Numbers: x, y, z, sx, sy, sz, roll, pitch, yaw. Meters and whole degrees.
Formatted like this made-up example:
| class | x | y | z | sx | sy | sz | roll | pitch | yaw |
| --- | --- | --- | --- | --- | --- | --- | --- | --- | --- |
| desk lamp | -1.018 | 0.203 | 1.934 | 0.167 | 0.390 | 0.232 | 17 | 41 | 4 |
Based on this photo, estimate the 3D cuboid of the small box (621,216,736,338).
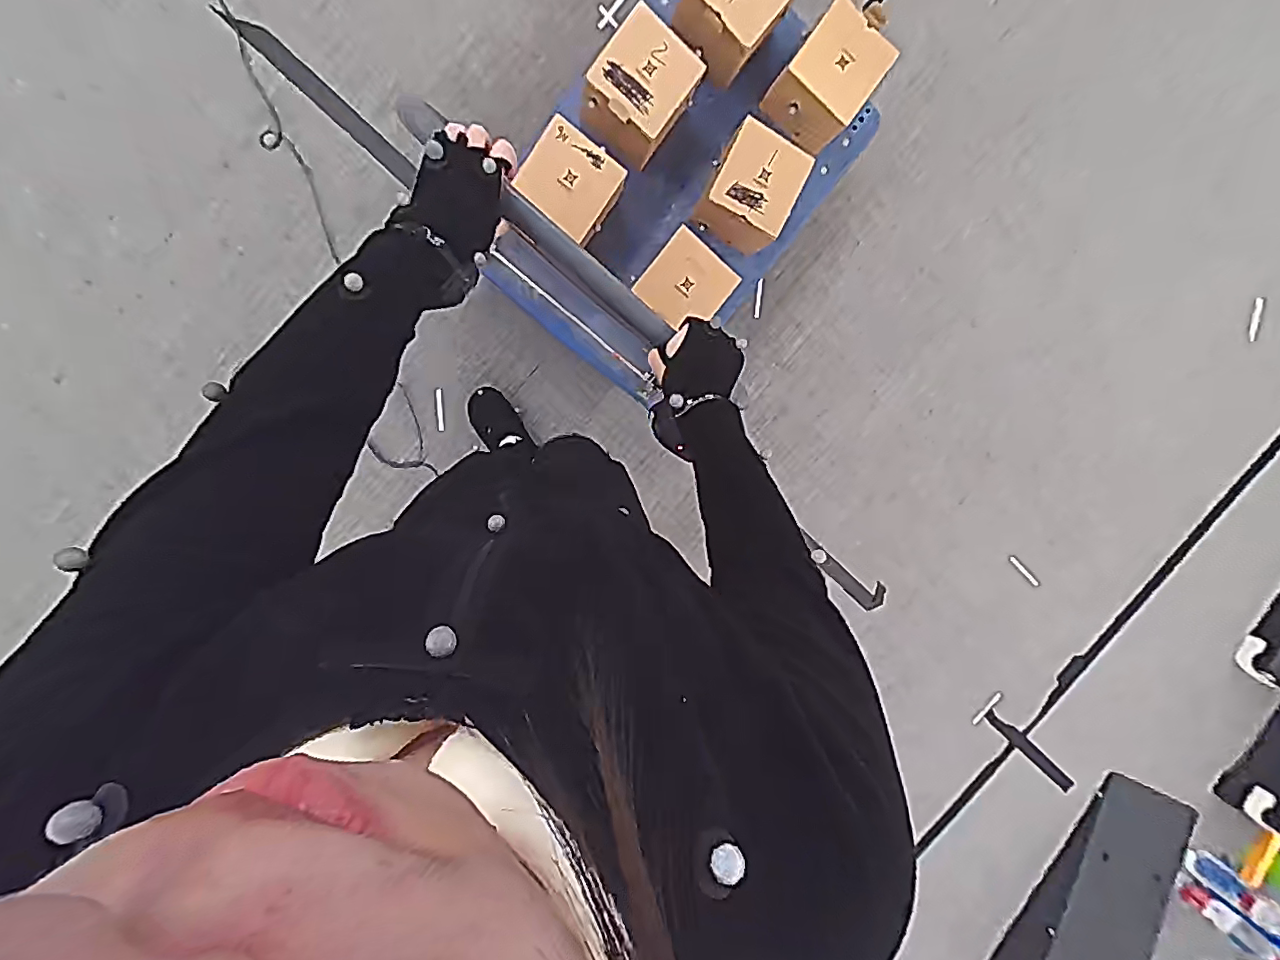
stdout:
| class | x | y | z | sx | sy | sz | roll | pitch | yaw |
| --- | --- | --- | --- | --- | --- | --- | --- | --- | --- |
| small box | 0.073 | -0.428 | 1.175 | 0.168 | 0.176 | 0.179 | 39 | 92 | -15 |

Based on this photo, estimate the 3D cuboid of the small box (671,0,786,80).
| class | x | y | z | sx | sy | sz | roll | pitch | yaw |
| --- | --- | --- | --- | --- | --- | --- | --- | --- | --- |
| small box | 0.184 | -0.967 | 1.082 | 0.168 | 0.176 | 0.179 | 40 | 93 | -14 |

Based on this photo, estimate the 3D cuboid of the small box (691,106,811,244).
| class | x | y | z | sx | sy | sz | roll | pitch | yaw |
| --- | --- | --- | --- | --- | --- | --- | --- | --- | --- |
| small box | 0.226 | -0.636 | 1.158 | 0.168 | 0.176 | 0.179 | 26 | 95 | -13 |

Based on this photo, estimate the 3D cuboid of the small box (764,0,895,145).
| class | x | y | z | sx | sy | sz | roll | pitch | yaw |
| --- | --- | --- | --- | --- | --- | --- | --- | --- | --- |
| small box | 0.384 | -0.857 | 1.140 | 0.168 | 0.176 | 0.179 | 35 | 94 | -14 |

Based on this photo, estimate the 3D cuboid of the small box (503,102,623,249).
| class | x | y | z | sx | sy | sz | roll | pitch | yaw |
| --- | --- | --- | --- | --- | --- | --- | --- | --- | --- |
| small box | -0.156 | -0.603 | 1.100 | 0.168 | 0.176 | 0.179 | 35 | 94 | -15 |
